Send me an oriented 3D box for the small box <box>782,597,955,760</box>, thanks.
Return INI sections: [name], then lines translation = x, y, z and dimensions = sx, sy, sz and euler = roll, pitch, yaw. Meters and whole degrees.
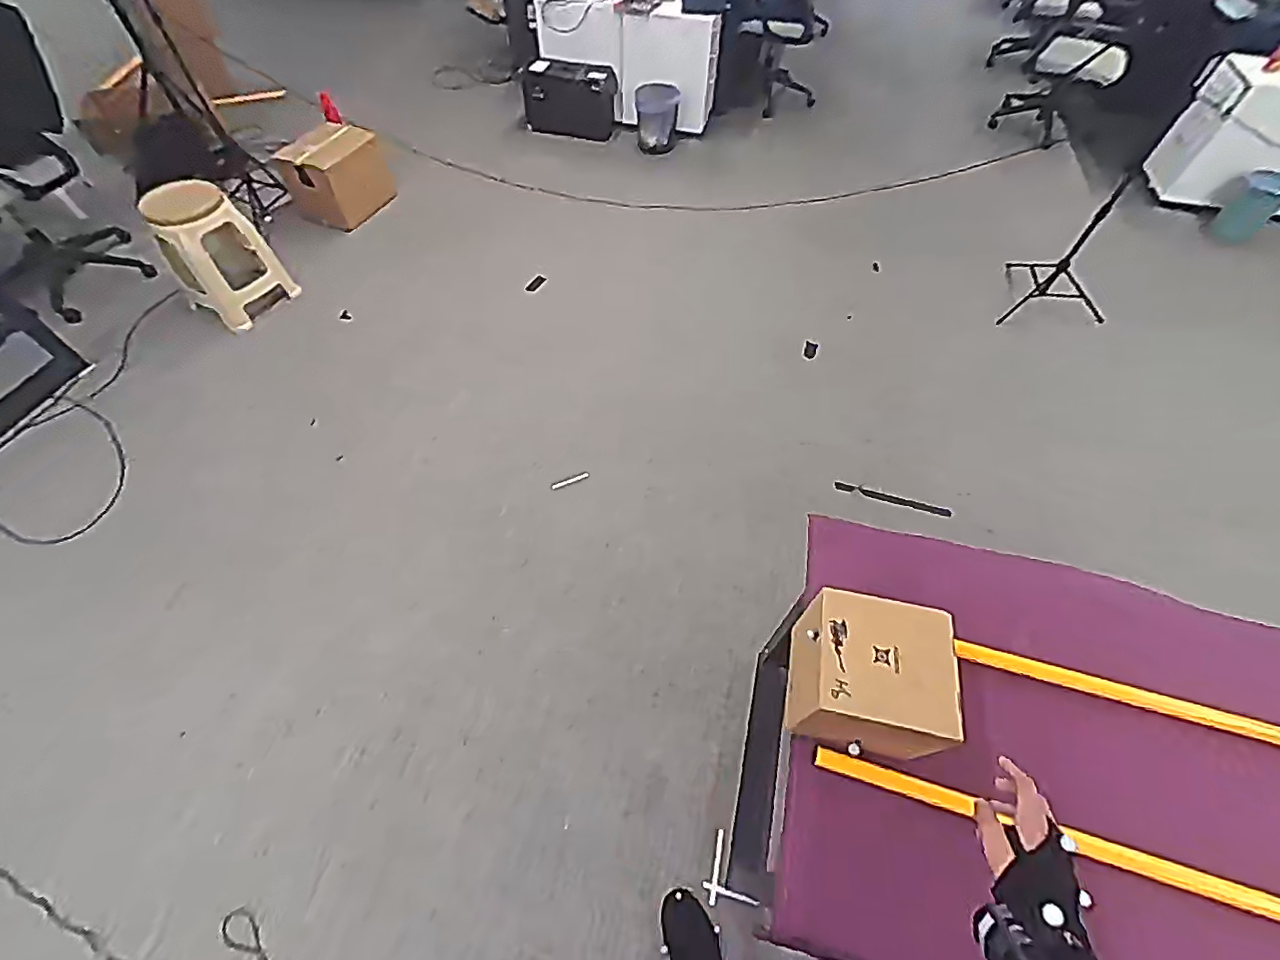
[small box]
translation = 0.317, 0.290, 0.776
dimensions = 0.179, 0.176, 0.168
euler = 12, 57, 6
